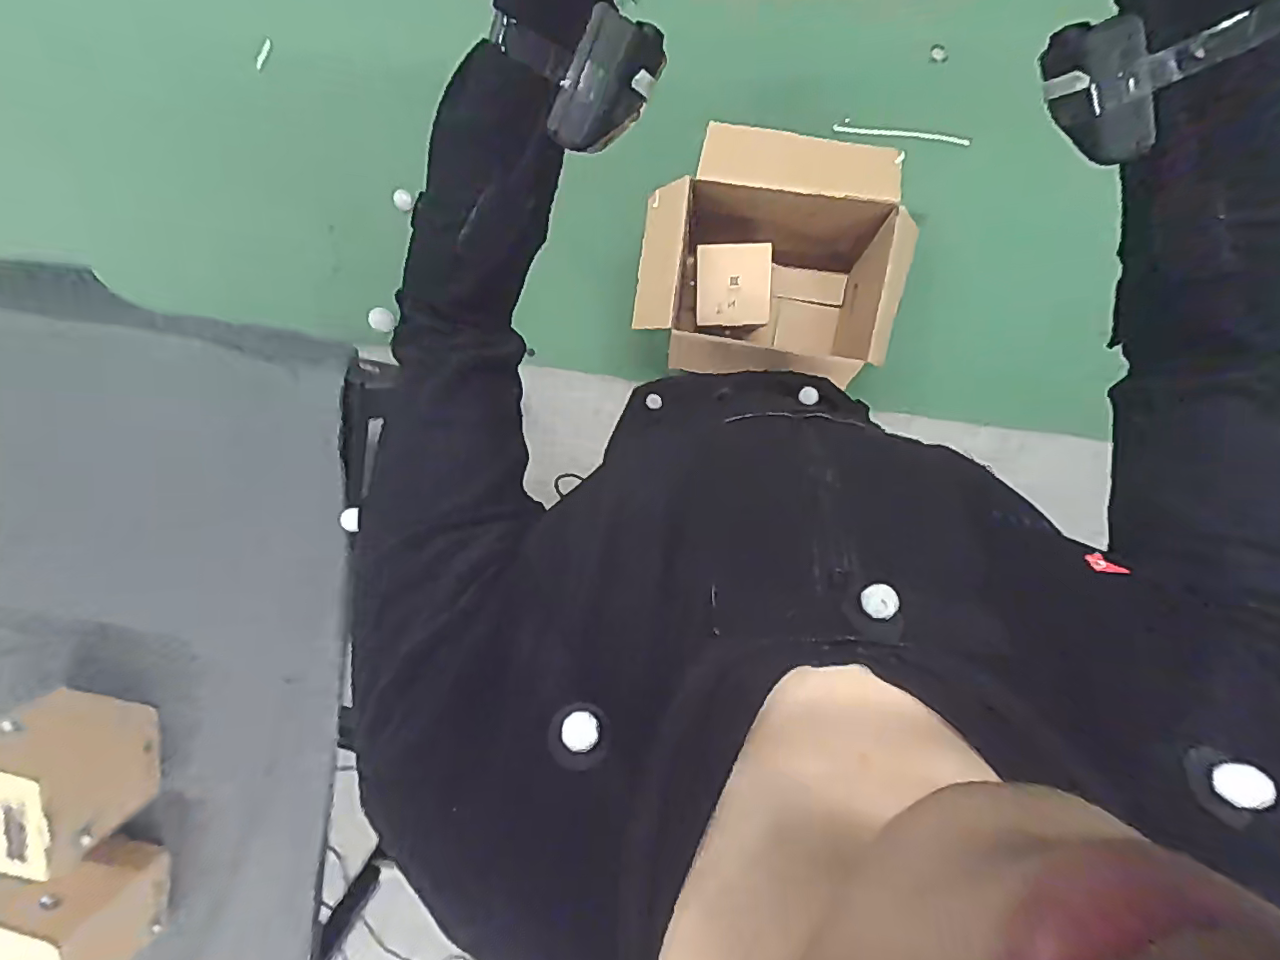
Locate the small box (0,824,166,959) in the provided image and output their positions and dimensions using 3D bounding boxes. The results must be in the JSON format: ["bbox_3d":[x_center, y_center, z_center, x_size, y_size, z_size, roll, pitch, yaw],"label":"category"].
[{"bbox_3d":[-0.917,0.698,0.871,0.179,0.176,0.168,12,100,4],"label":"small box"}]
